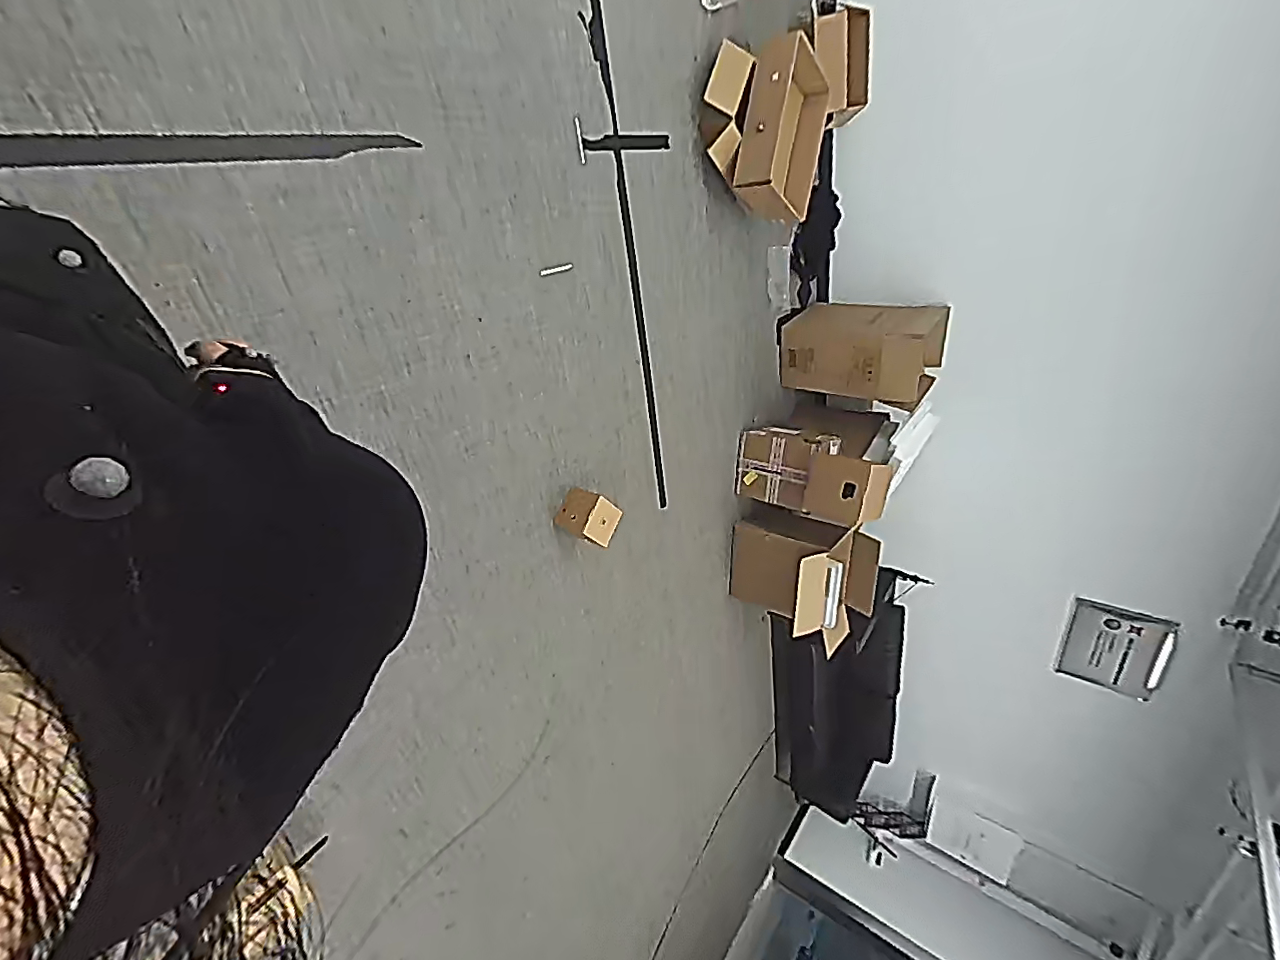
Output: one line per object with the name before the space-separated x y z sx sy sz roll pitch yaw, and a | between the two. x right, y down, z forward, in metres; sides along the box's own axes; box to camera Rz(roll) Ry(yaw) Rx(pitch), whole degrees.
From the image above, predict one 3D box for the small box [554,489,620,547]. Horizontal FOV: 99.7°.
small box | -0.218 0.150 2.191 0.179 0.176 0.168 43 69 -51
